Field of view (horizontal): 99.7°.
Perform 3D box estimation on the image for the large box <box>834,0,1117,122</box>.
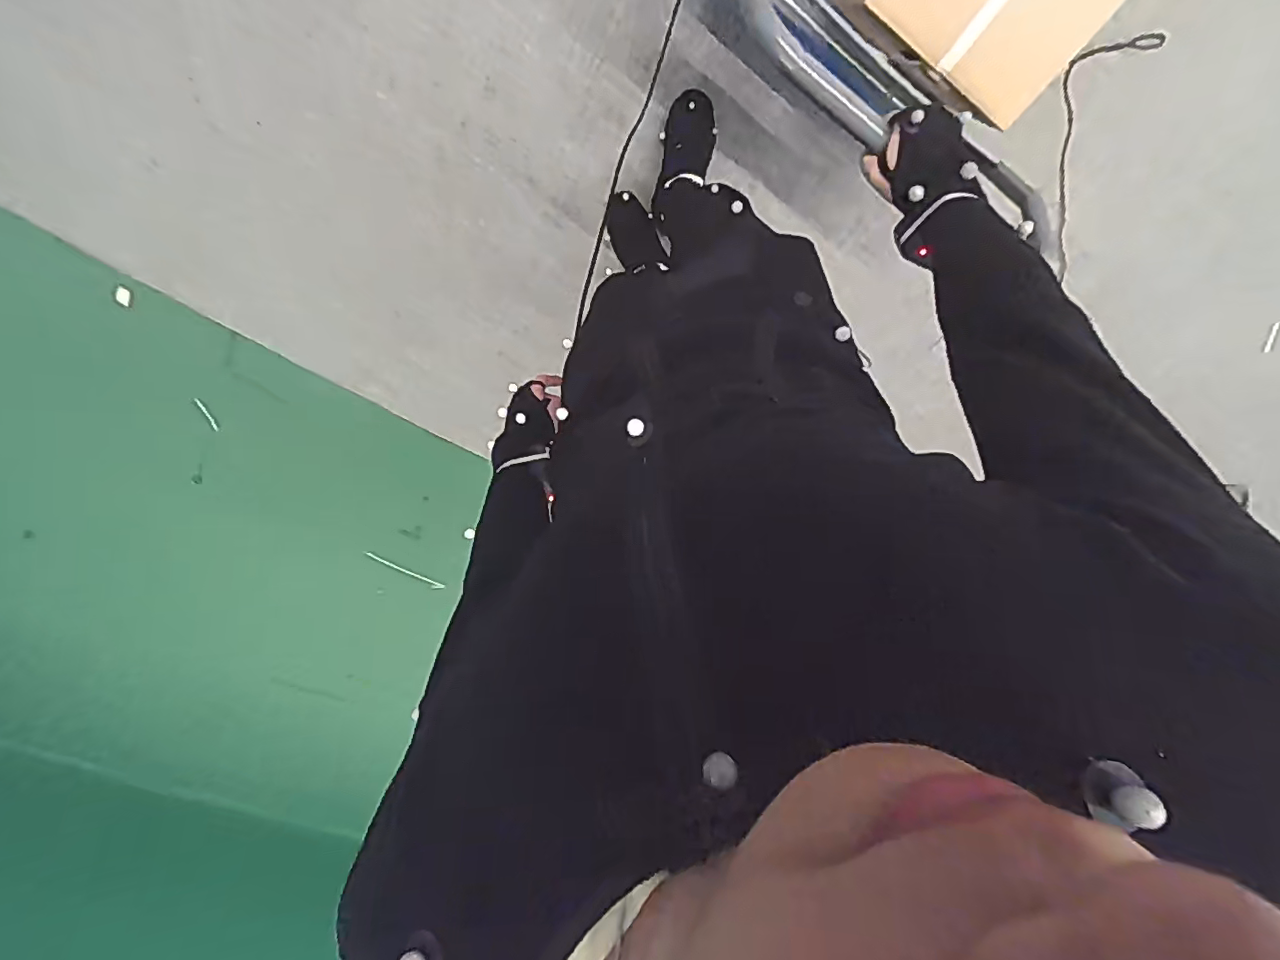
[{"bbox_3d":[0.572,-0.859,0.825,0.320,0.320,0.408,26,129,-17],"label":"large box"}]
